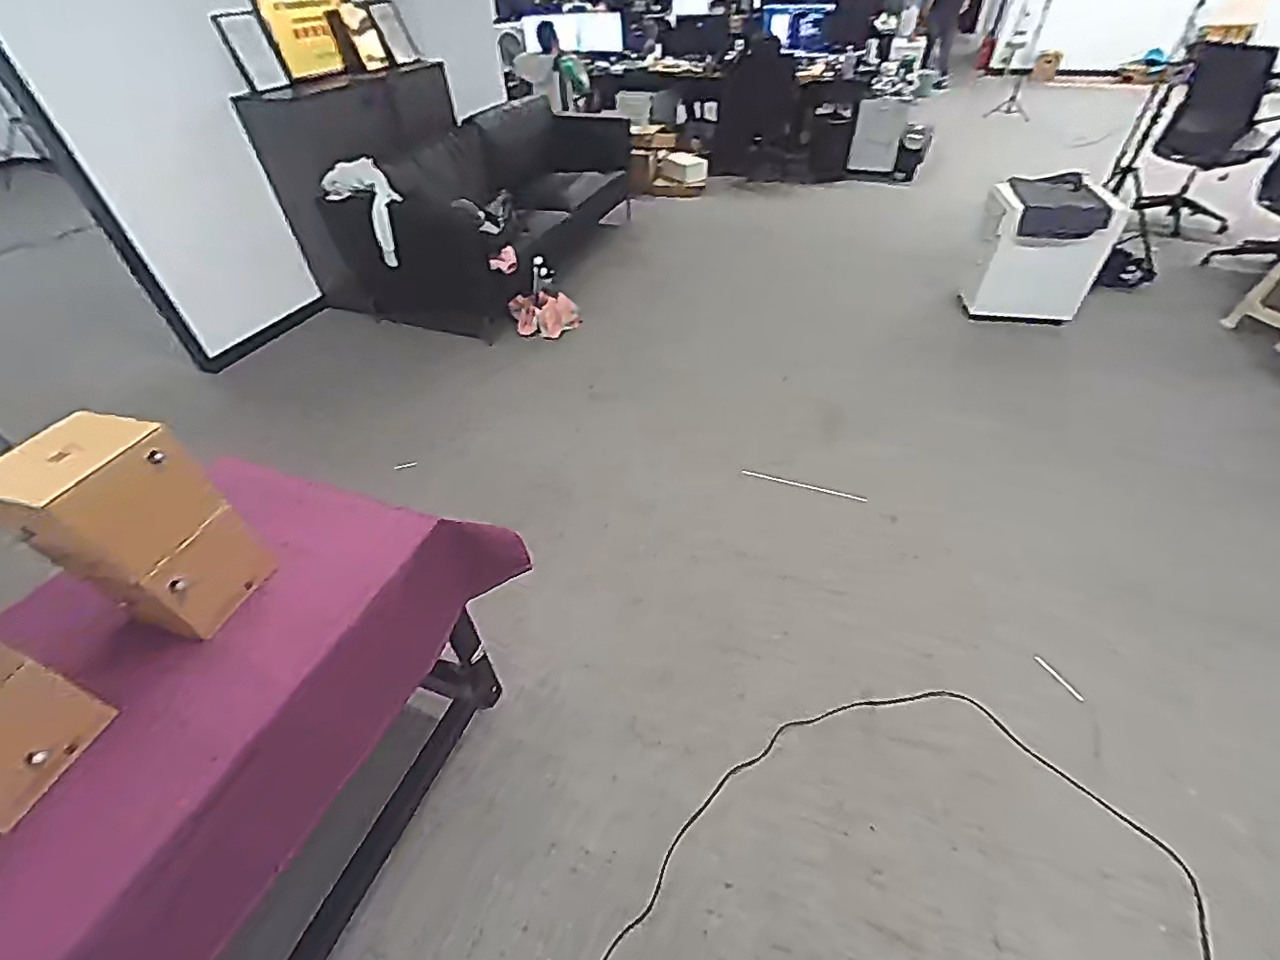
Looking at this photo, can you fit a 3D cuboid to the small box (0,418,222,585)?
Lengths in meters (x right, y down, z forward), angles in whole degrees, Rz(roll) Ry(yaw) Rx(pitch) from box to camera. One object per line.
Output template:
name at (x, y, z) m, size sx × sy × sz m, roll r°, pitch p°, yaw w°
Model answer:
small box at (-0.789, 0.032, 0.806) m, size 0.168 × 0.176 × 0.179 m, roll 8°, pitch 45°, yaw 12°

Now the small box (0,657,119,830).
small box at (-0.887, 0.343, 0.726) m, size 0.179 × 0.176 × 0.168 m, roll 8°, pitch 46°, yaw 11°
